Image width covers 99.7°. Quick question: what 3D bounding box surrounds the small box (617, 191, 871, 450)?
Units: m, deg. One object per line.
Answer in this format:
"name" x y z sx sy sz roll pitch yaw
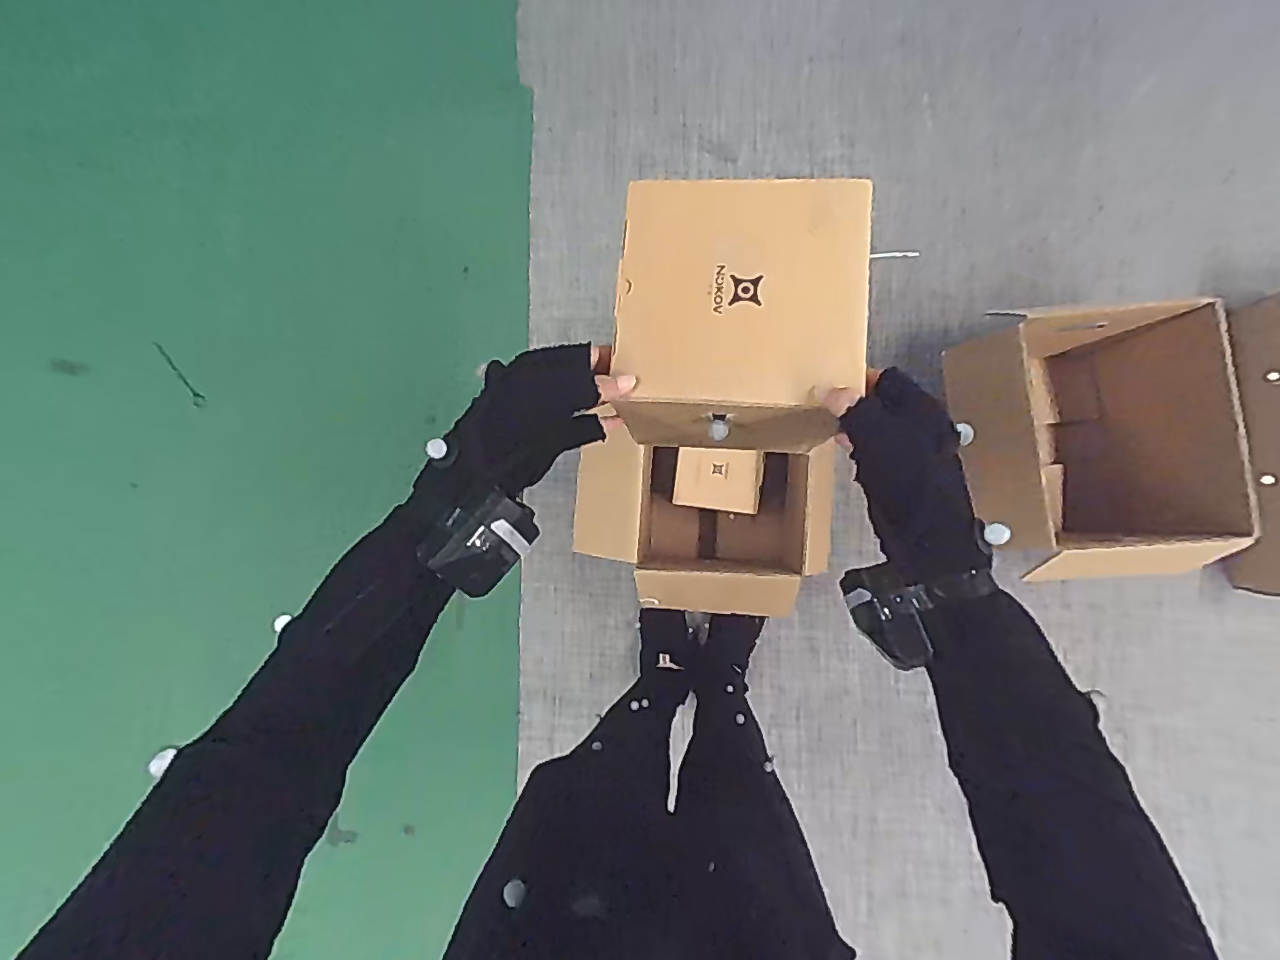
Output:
"small box" 0.085 -0.124 0.475 0.179 0.176 0.168 4 83 8
